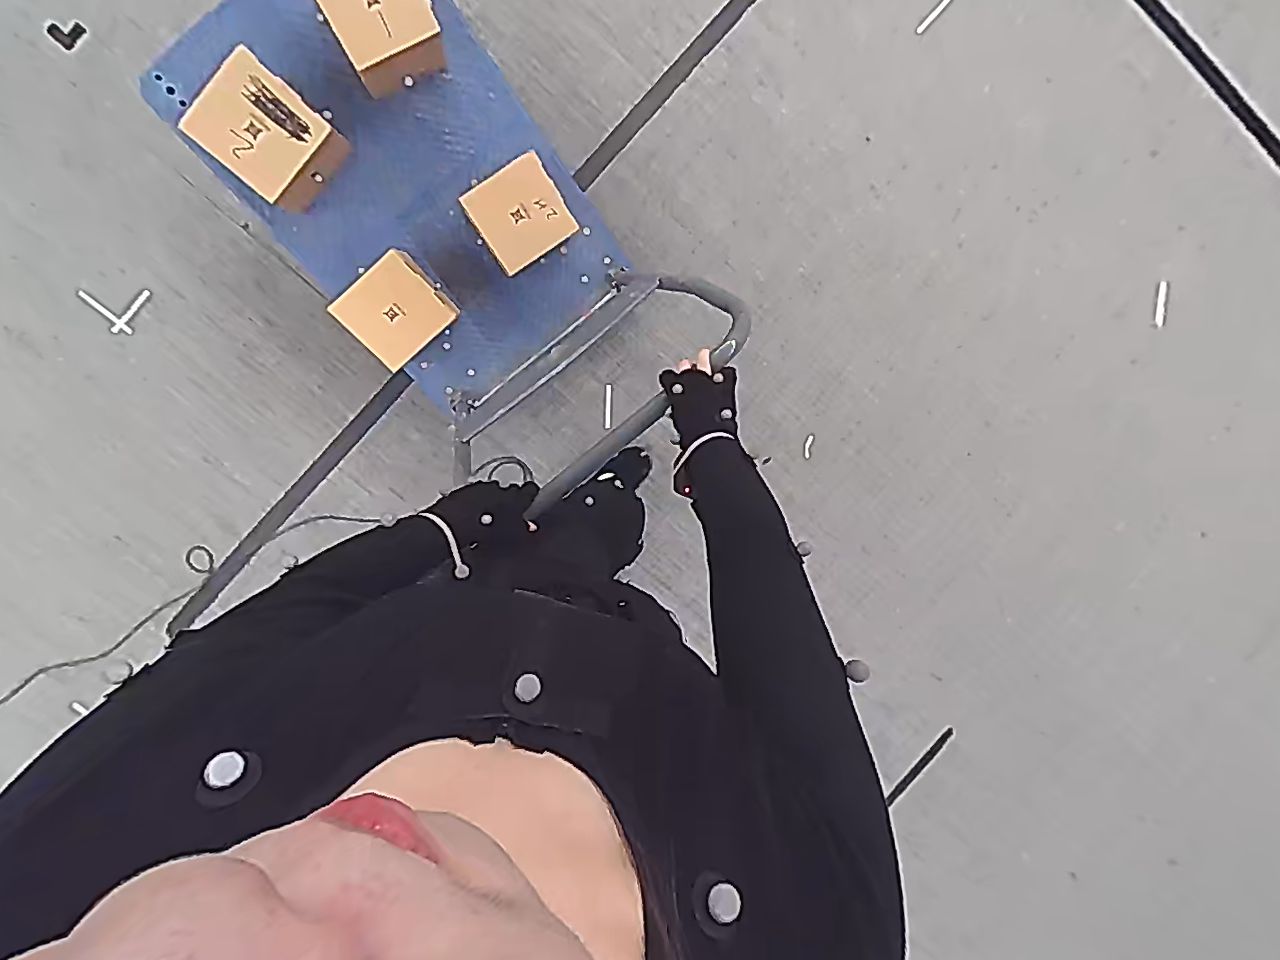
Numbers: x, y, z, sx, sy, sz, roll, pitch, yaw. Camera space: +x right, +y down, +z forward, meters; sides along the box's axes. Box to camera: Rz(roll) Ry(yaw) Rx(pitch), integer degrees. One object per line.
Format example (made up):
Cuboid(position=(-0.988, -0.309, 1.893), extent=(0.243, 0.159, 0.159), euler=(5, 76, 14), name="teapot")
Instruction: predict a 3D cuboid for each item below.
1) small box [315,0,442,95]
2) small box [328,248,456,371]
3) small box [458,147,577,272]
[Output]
Cuboid(position=(-0.475, -0.837, 0.964), extent=(0.168, 0.176, 0.179), euler=(-30, 115, -4), name="small box")
Cuboid(position=(-0.504, -0.355, 1.132), extent=(0.179, 0.176, 0.168), euler=(-43, 114, 1), name="small box")
Cuboid(position=(-0.254, -0.551, 1.130), extent=(0.179, 0.176, 0.168), euler=(-35, 115, -1), name="small box")
